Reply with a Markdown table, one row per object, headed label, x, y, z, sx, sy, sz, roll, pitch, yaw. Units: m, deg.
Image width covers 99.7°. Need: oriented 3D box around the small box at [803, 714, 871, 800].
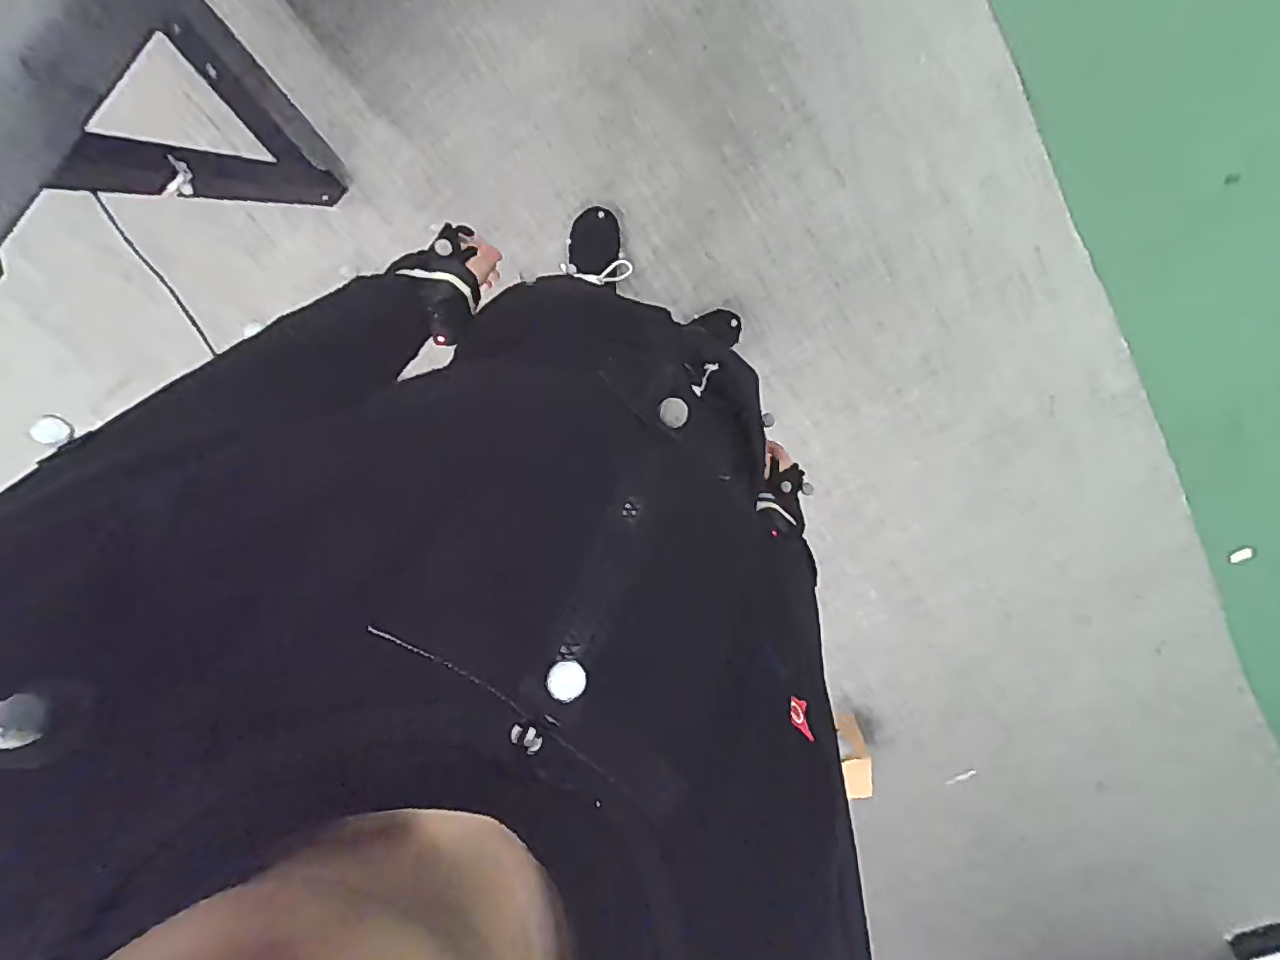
| label | x | y | z | sx | sy | sz | roll | pitch | yaw |
| --- | --- | --- | --- | --- | --- | --- | --- | --- | --- |
| small box | 0.617 | 0.871 | 1.704 | 0.168 | 0.176 | 0.179 | -9 | 113 | 7 |
